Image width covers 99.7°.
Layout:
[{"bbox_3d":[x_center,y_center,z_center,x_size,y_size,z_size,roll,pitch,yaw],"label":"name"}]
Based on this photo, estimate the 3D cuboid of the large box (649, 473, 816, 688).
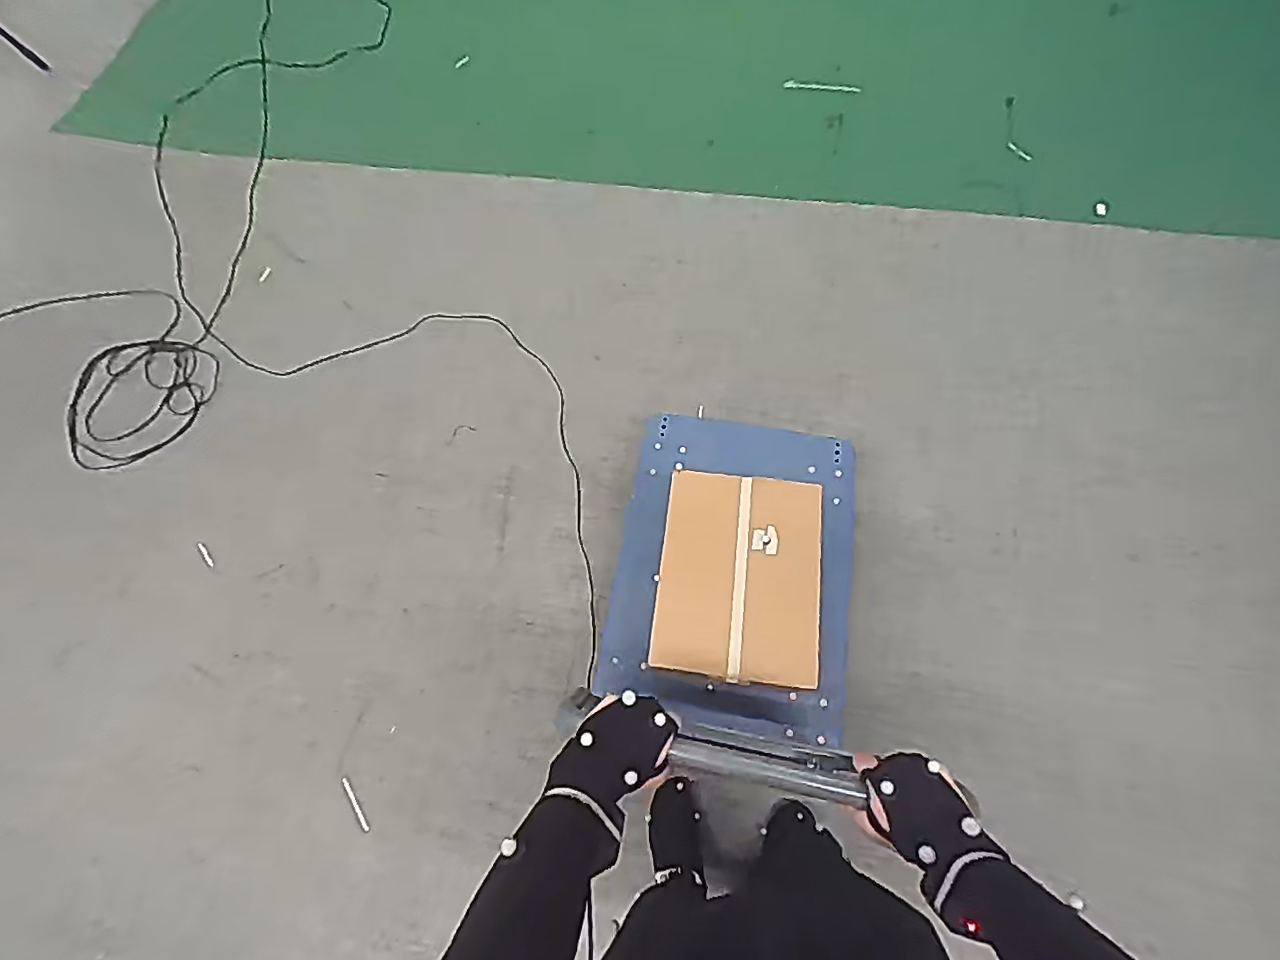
[{"bbox_3d":[0.201,0.236,1.210,0.320,0.320,0.408,6,68,5],"label":"large box"}]
